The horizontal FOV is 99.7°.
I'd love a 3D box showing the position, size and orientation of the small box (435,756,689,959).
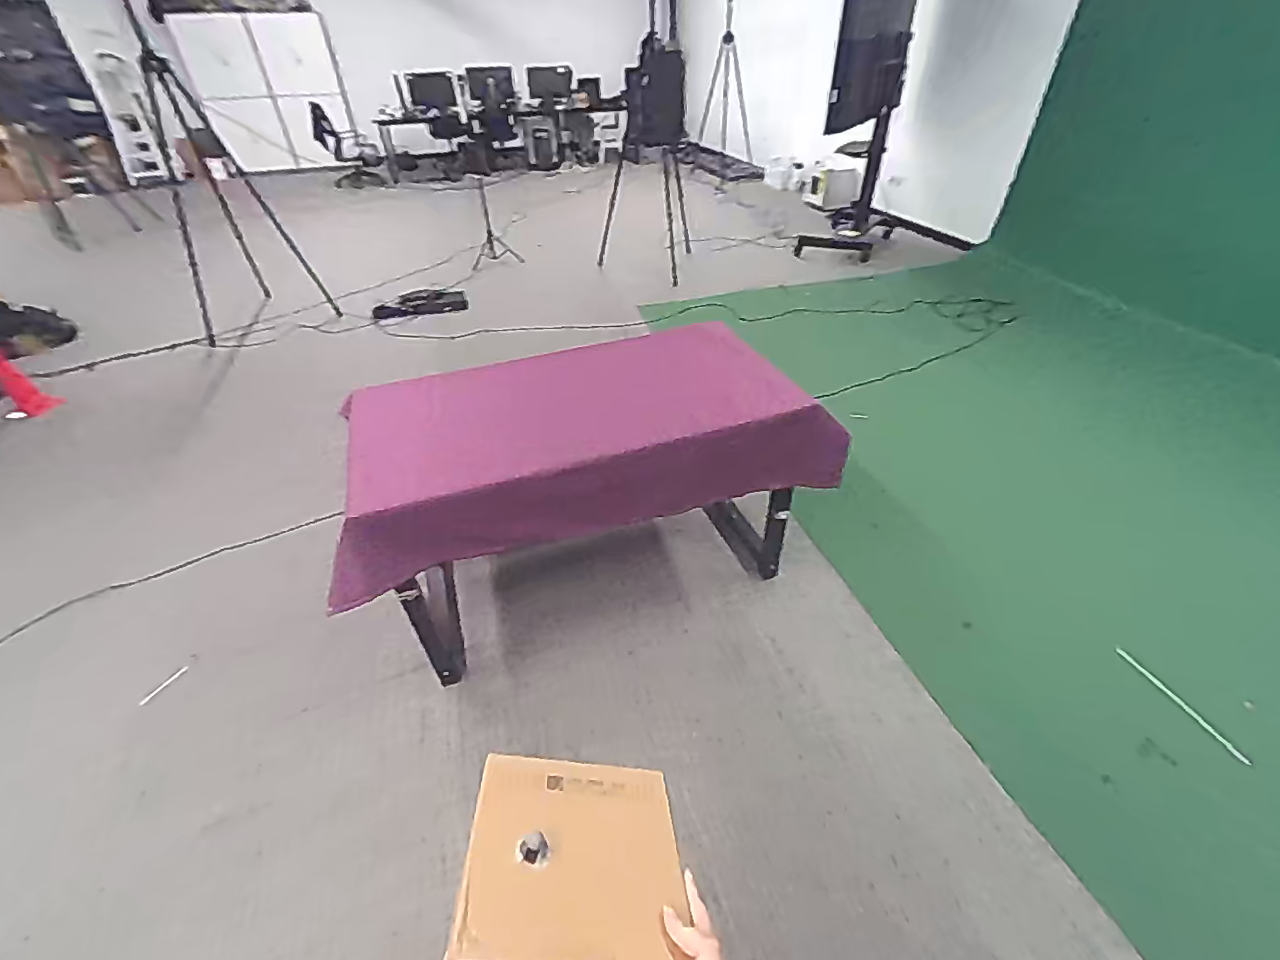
[{"bbox_3d":[-0.075,0.362,0.445,0.168,0.179,0.176,13,16,-10],"label":"small box"}]
